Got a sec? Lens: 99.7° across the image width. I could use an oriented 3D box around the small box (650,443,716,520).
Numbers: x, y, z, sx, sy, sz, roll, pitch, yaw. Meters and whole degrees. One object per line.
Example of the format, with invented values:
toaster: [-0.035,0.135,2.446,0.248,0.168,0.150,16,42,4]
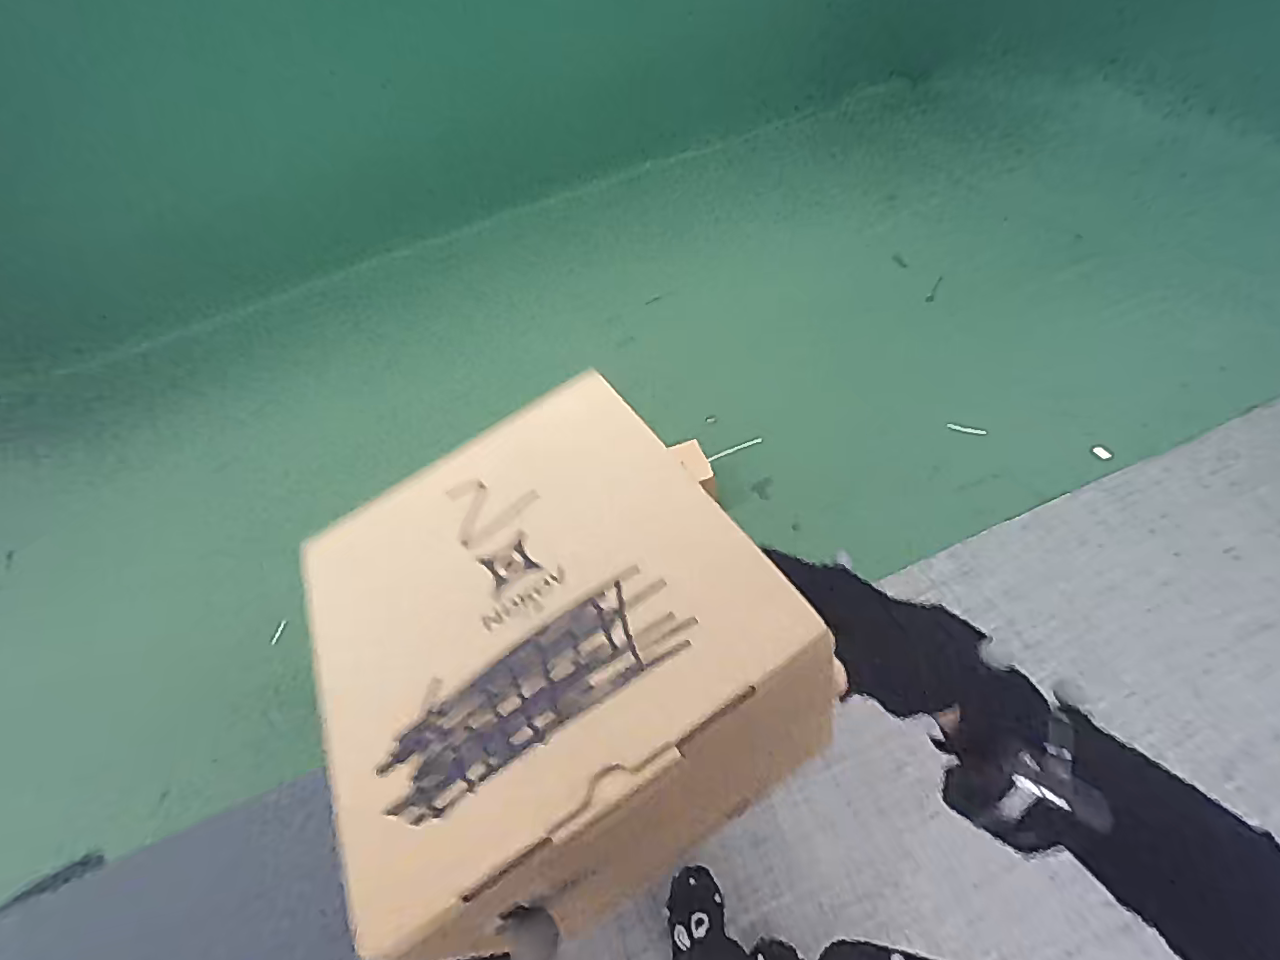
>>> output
small box: [0.145,0.012,1.801,0.168,0.176,0.179,-19,50,-3]
